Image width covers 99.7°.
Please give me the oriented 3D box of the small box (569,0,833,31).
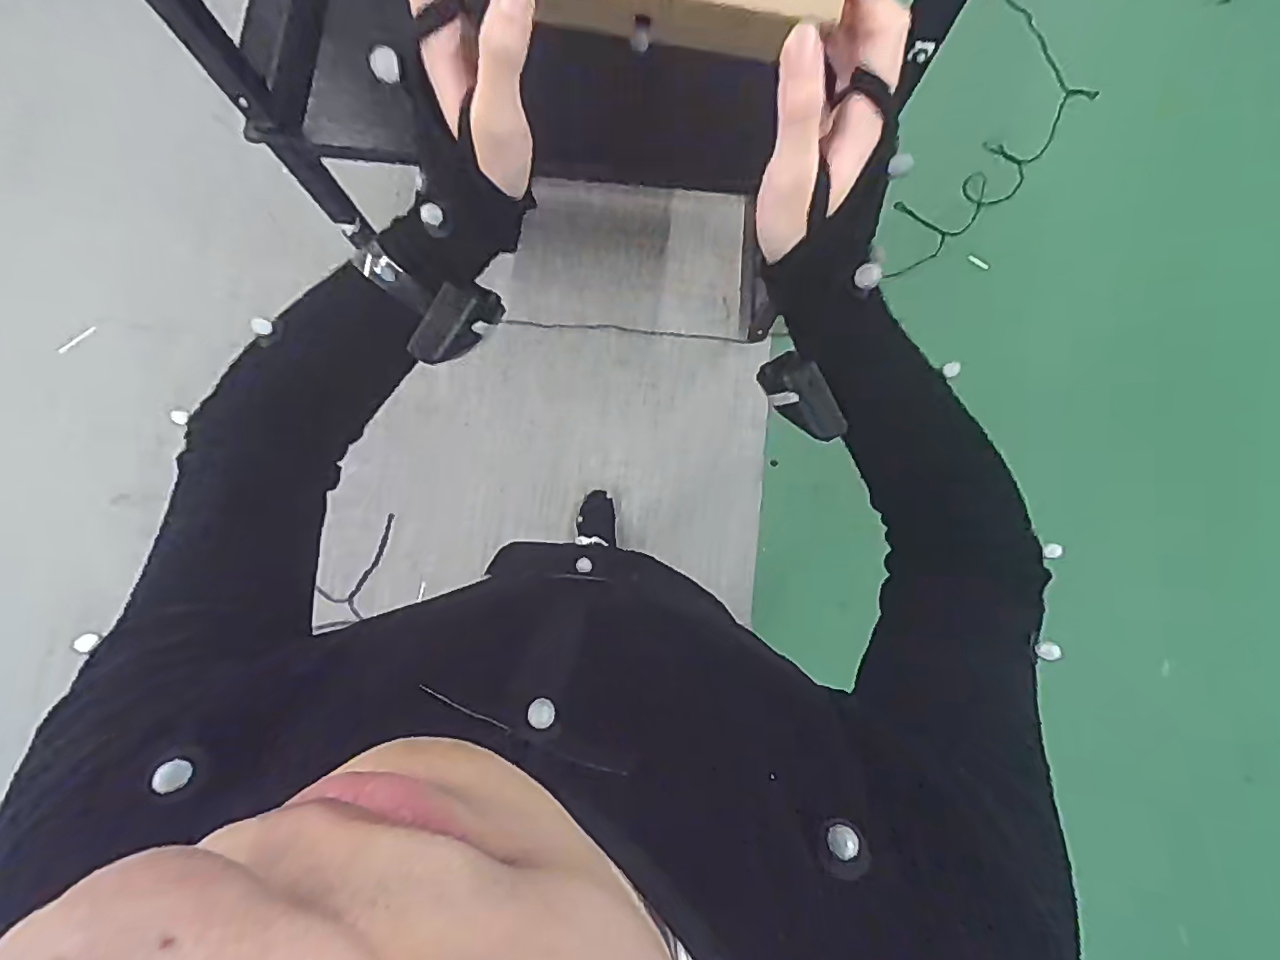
[{"bbox_3d":[0.020,-0.342,0.262,0.179,0.176,0.168,7,123,-3],"label":"small box"}]
